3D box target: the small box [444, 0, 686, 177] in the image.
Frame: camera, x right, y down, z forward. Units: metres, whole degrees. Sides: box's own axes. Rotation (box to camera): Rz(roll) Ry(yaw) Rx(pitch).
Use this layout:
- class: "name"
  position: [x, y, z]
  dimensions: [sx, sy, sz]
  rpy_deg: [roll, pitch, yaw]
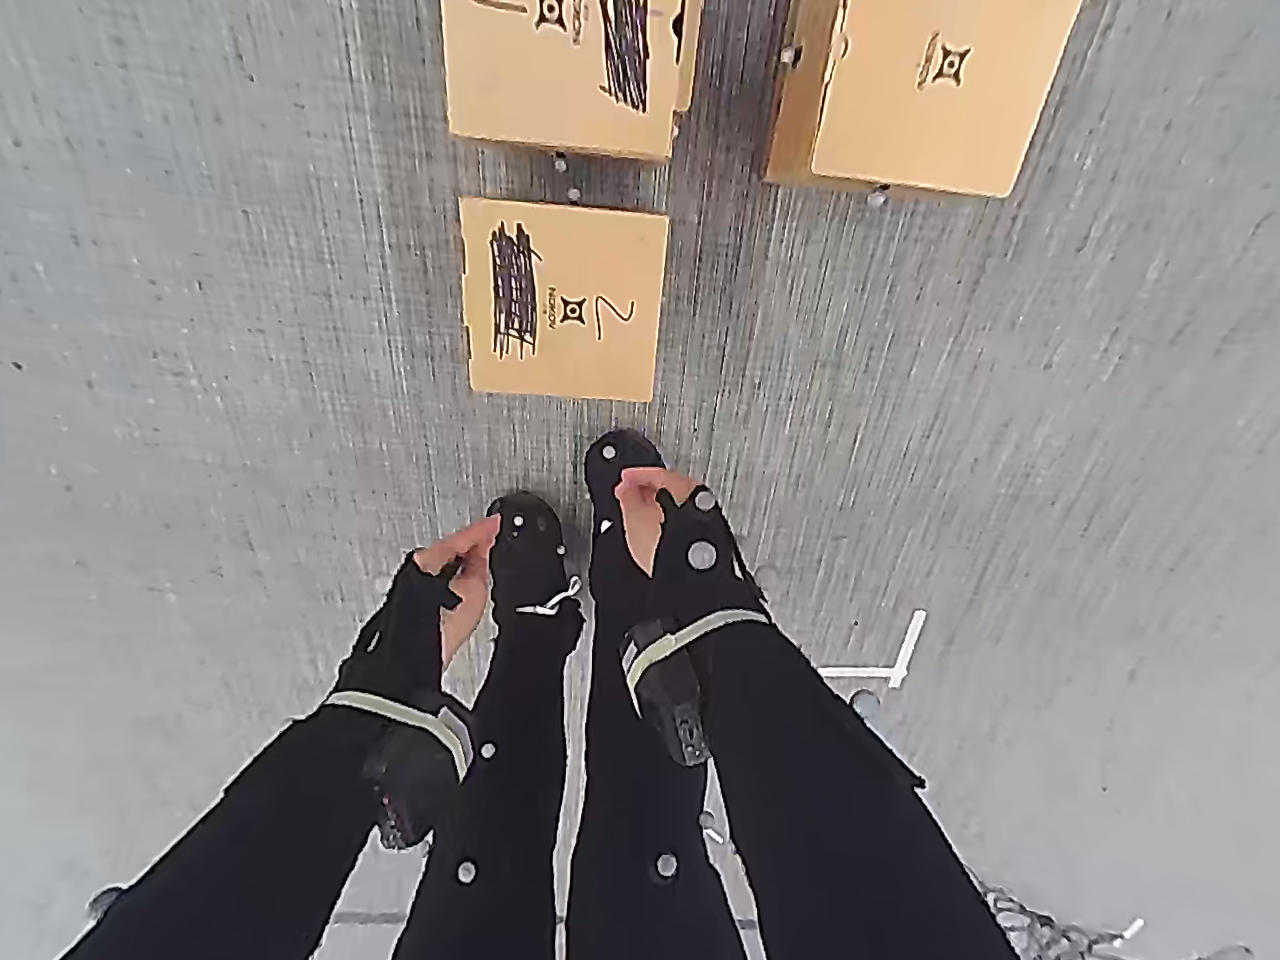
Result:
- class: "small box"
  position: [-0.058, -0.366, 0.471]
  dimensions: [0.179, 0.176, 0.168]
  rpy_deg: [4, 118, -3]

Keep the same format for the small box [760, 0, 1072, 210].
- class: "small box"
  position: [0.225, -0.349, 0.491]
  dimensions: [0.179, 0.176, 0.168]
  rpy_deg: [5, 118, -4]
